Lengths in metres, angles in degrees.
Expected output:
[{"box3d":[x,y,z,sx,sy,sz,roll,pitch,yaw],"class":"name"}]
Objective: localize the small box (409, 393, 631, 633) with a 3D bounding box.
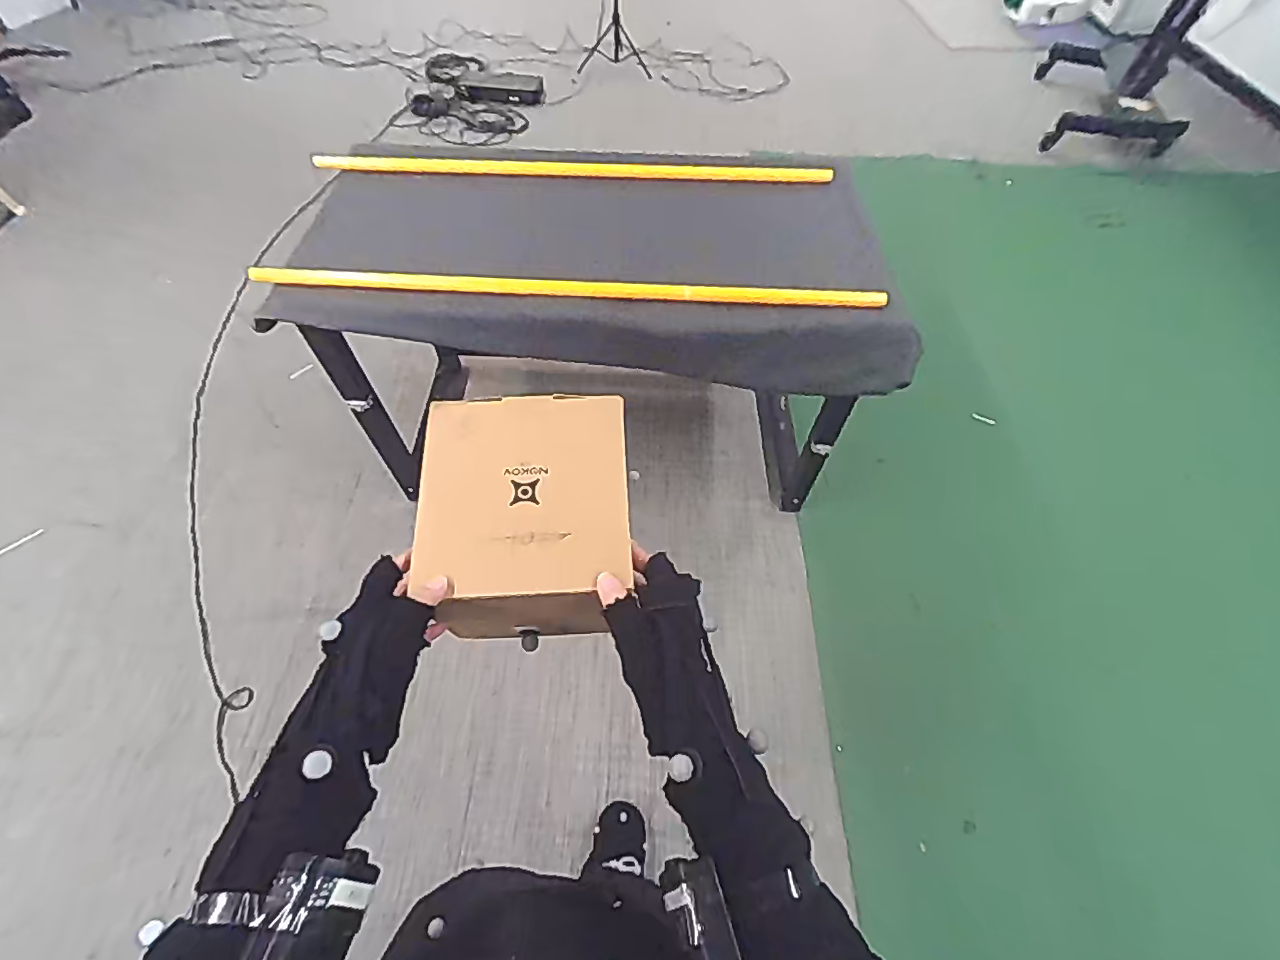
[{"box3d":[-0.098,0.037,0.509,0.168,0.176,0.179,-2,64,-4],"class":"small box"}]
